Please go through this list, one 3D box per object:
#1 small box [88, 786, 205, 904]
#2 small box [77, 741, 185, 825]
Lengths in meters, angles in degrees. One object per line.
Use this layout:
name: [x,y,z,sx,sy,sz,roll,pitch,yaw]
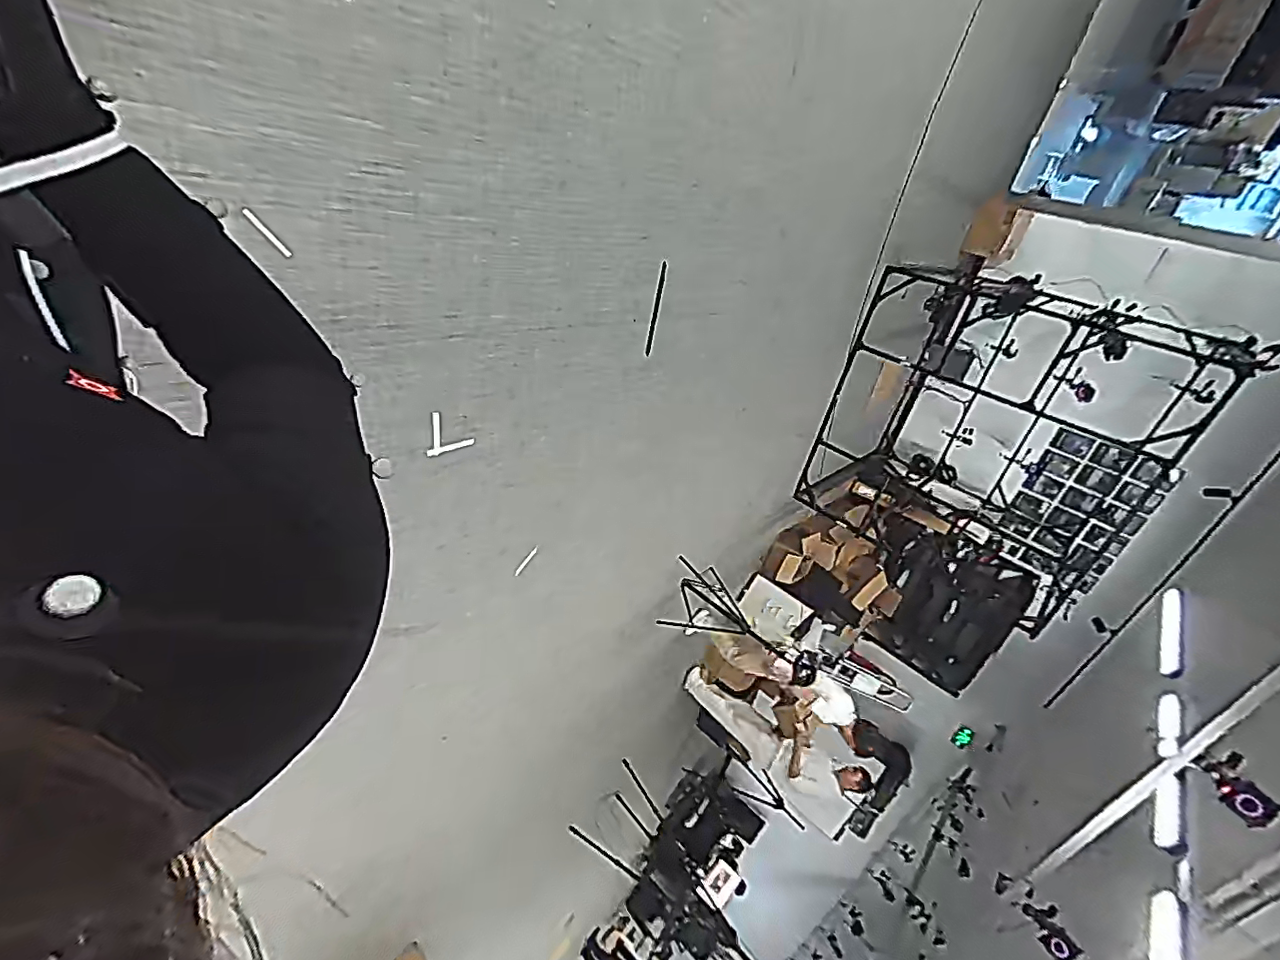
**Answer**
small box: [-1.300,0.951,1.424,0.168,0.176,0.179,-28,138,-37]
small box: [-1.416,0.868,1.507,0.168,0.176,0.179,-25,138,-40]
